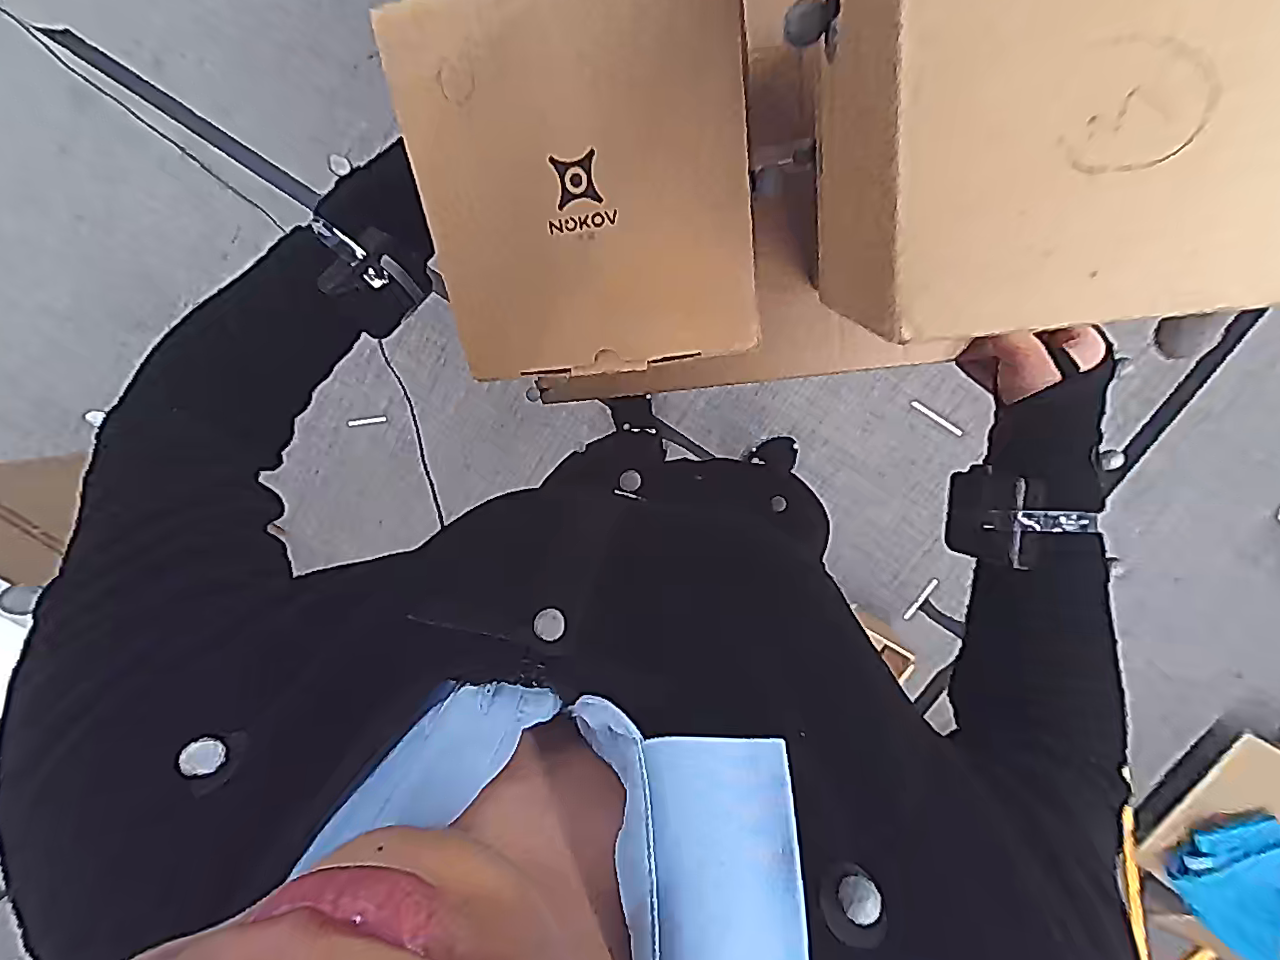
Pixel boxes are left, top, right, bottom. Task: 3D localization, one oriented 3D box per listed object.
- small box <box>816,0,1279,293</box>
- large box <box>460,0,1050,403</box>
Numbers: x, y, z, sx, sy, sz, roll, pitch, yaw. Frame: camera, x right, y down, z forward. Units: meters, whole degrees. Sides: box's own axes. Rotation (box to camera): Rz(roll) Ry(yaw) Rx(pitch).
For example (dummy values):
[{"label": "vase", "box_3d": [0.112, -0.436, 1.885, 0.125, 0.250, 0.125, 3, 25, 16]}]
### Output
[{"label": "small box", "box_3d": [0.138, -0.140, 0.131, 0.179, 0.176, 0.168, -3, 110, 14]}, {"label": "large box", "box_3d": [0.112, -0.279, 0.533, 0.408, 0.320, 0.320, -5, 107, 15]}]
